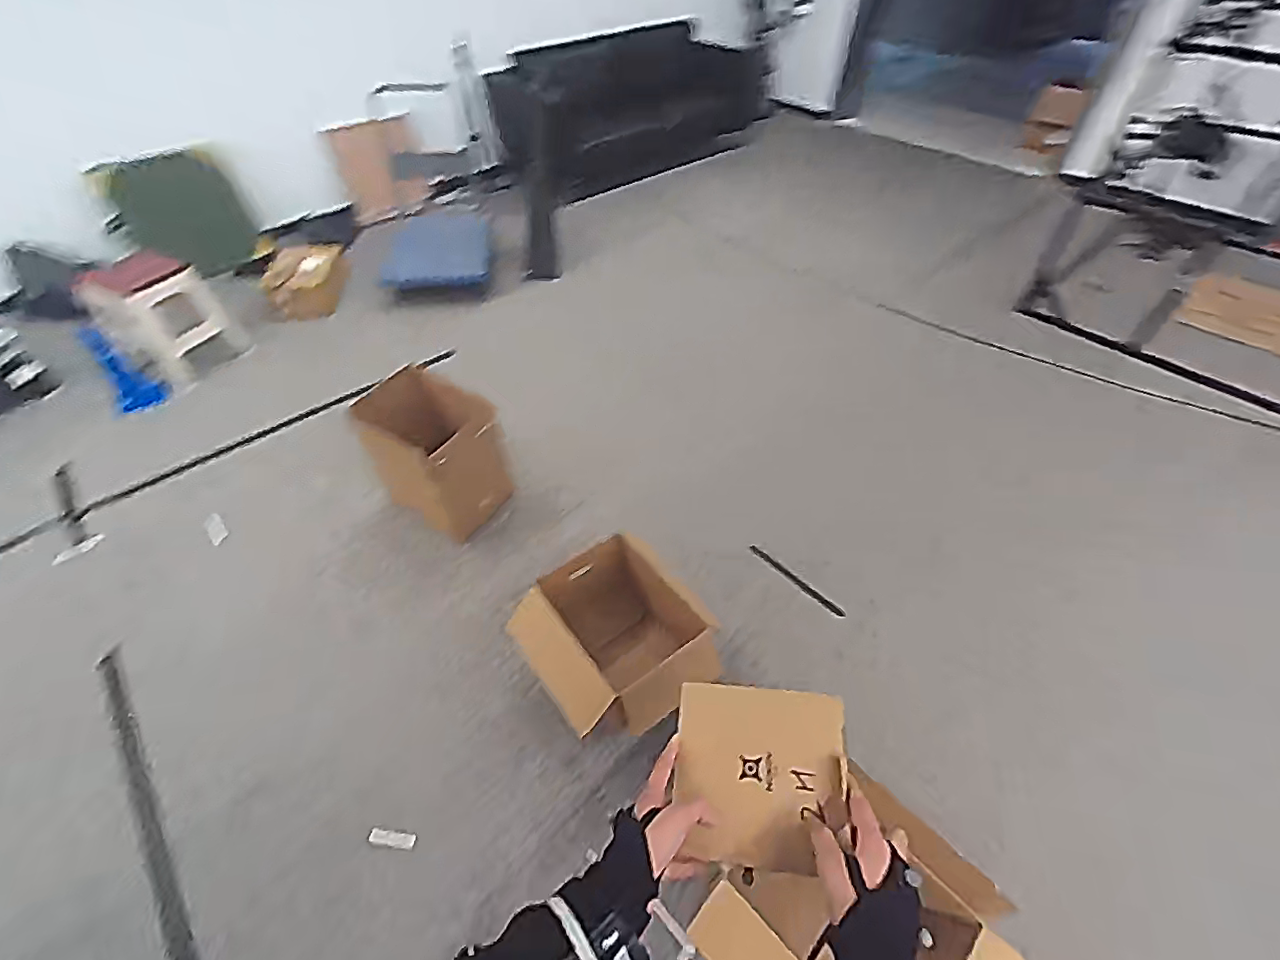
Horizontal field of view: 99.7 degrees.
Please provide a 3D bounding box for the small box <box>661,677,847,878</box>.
[{"bbox_3d":[0.131,0.338,0.616,0.179,0.176,0.168,1,56,13],"label":"small box"}]
